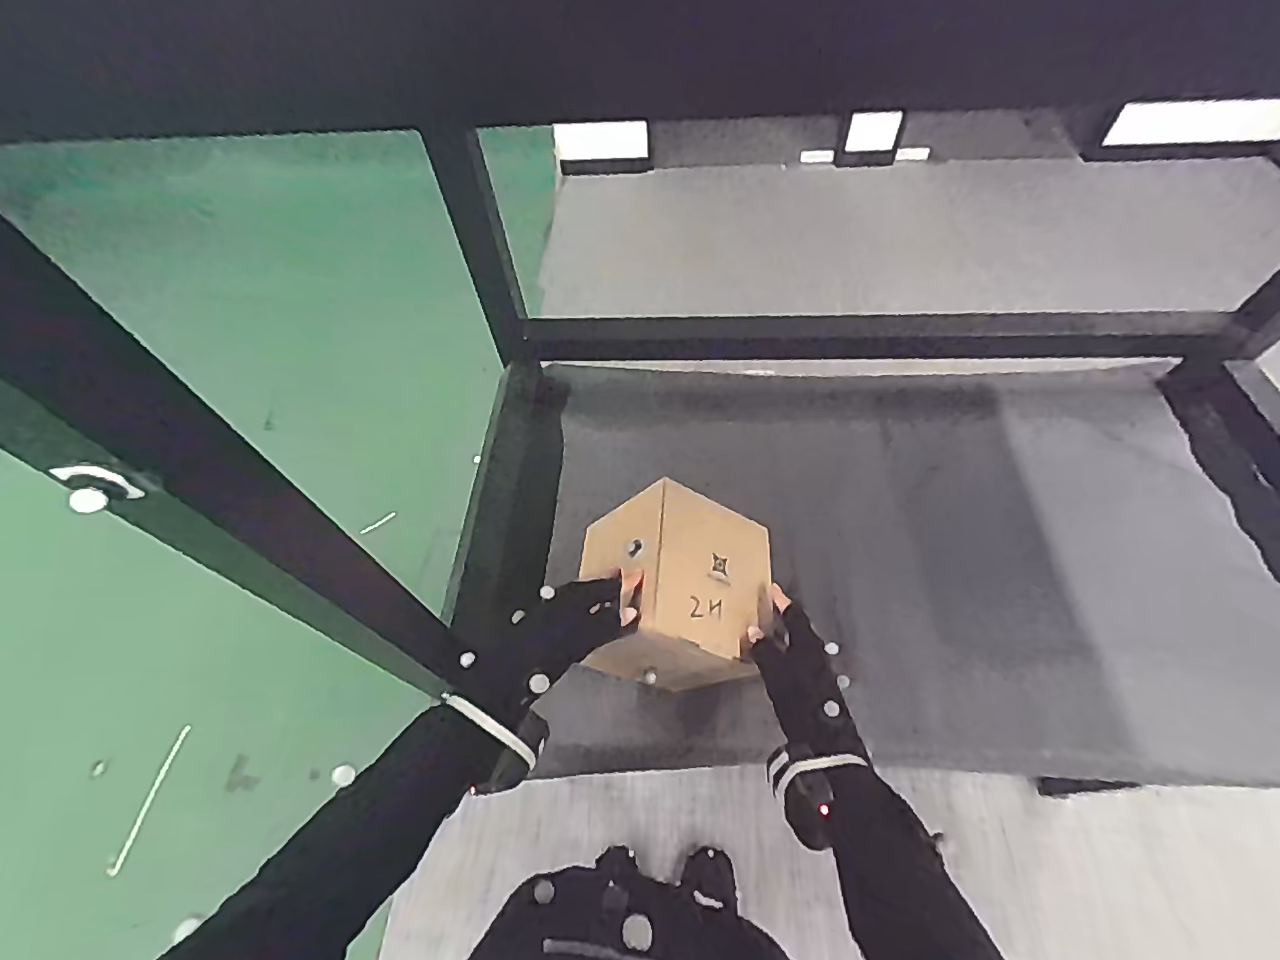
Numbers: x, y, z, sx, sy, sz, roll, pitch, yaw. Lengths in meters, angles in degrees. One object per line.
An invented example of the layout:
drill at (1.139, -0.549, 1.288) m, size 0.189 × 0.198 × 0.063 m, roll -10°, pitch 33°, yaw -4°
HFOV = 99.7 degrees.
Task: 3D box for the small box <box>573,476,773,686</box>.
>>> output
small box at (0.038, 0.130, 0.645) m, size 0.168 × 0.176 × 0.179 m, roll 27°, pitch 51°, yaw -27°
